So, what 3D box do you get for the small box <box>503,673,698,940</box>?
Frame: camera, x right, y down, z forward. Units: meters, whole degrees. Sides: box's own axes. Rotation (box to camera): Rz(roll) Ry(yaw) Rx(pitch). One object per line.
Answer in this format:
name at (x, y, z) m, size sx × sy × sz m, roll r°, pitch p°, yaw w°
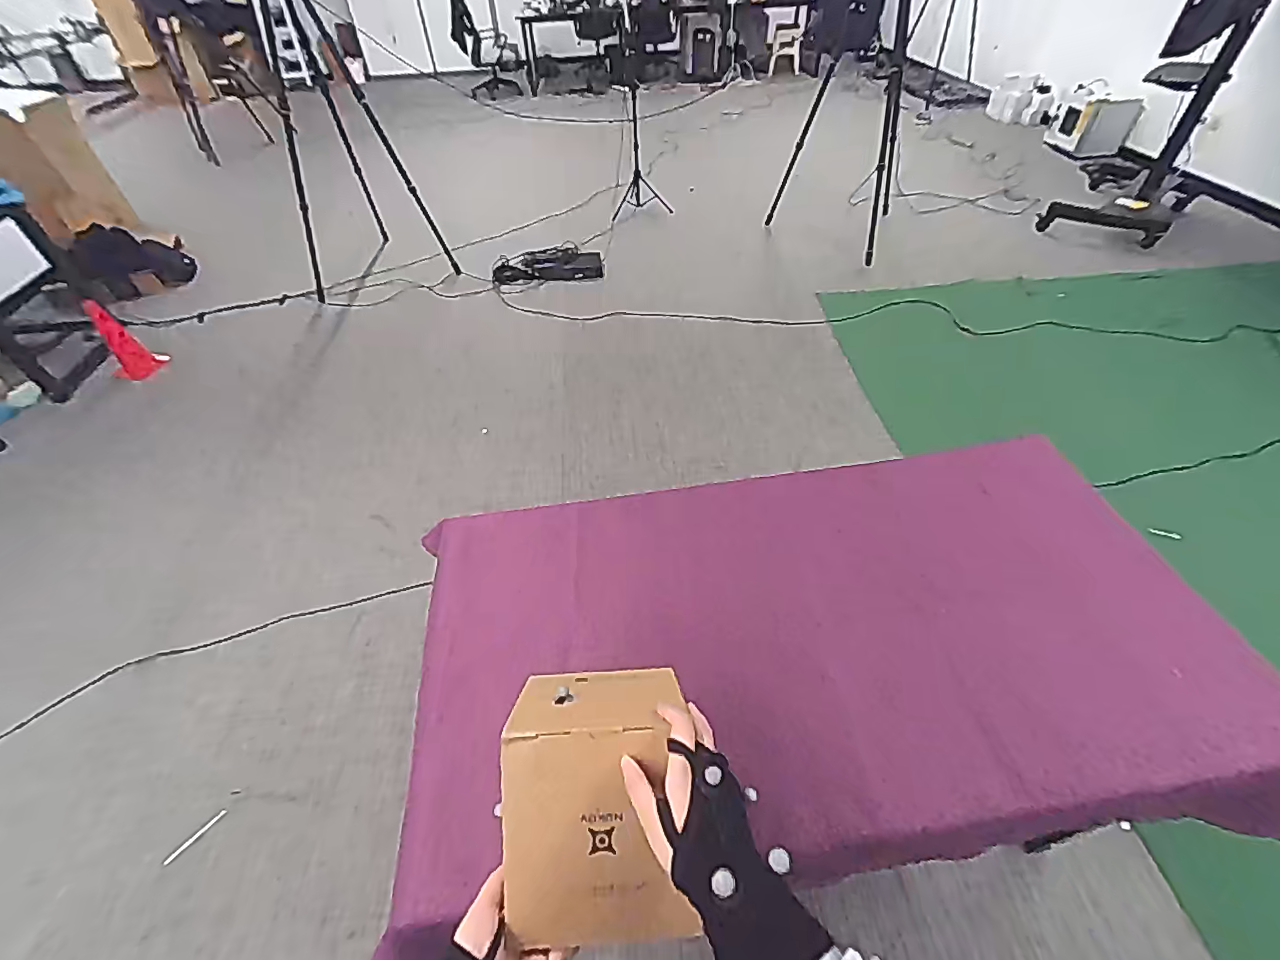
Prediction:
small box at (-0.038, 0.300, 0.539) m, size 0.168 × 0.176 × 0.179 m, roll -2°, pitch 86°, yaw -2°
